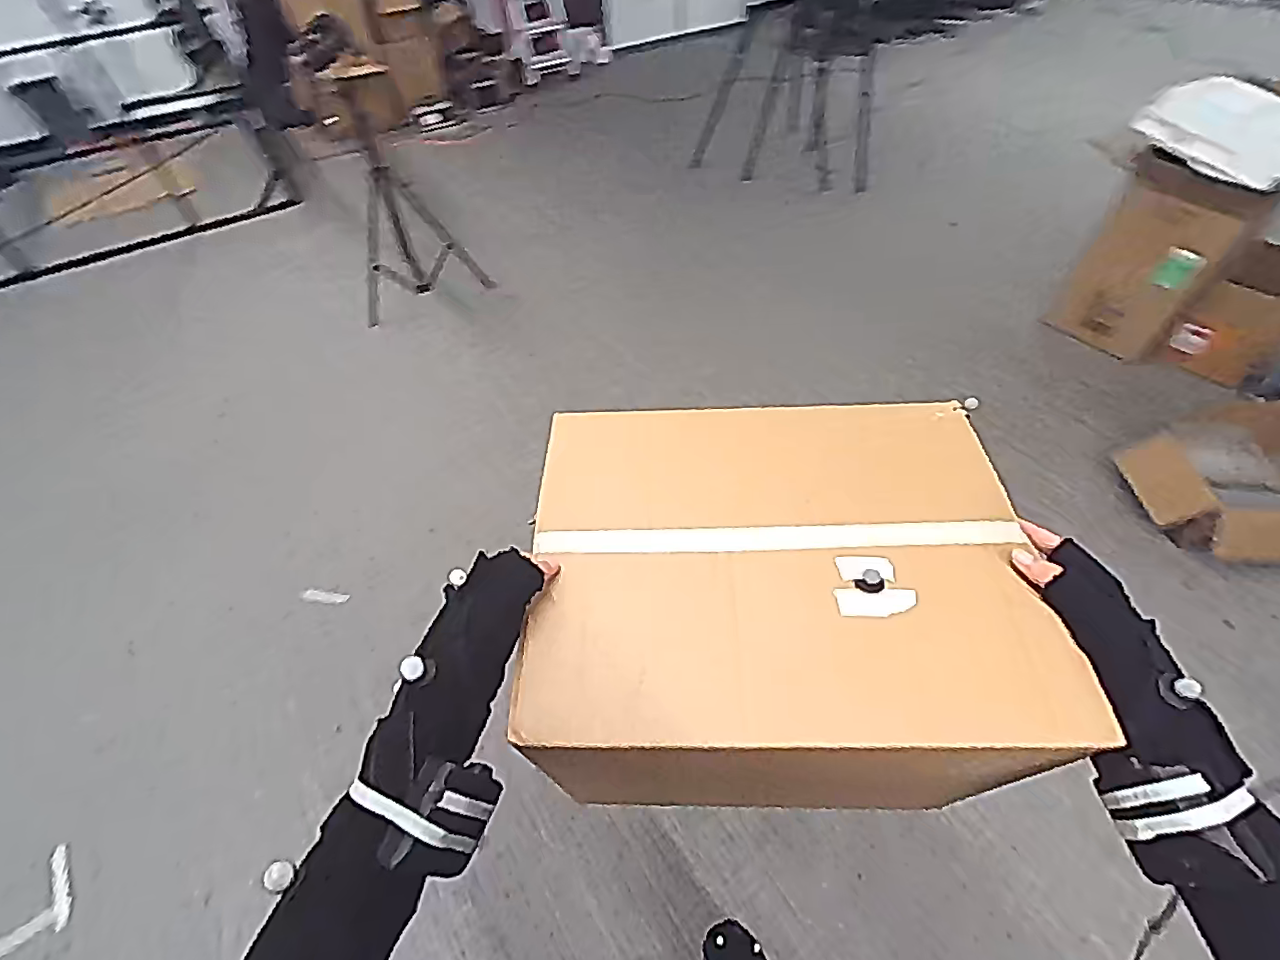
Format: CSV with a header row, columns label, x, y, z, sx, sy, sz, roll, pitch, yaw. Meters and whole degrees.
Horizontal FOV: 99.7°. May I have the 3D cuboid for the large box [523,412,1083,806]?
label,x,y,z,sx,sy,sz,roll,pitch,yaw
large box,0.115,0.150,0.587,0.408,0.320,0.320,-2,53,2
